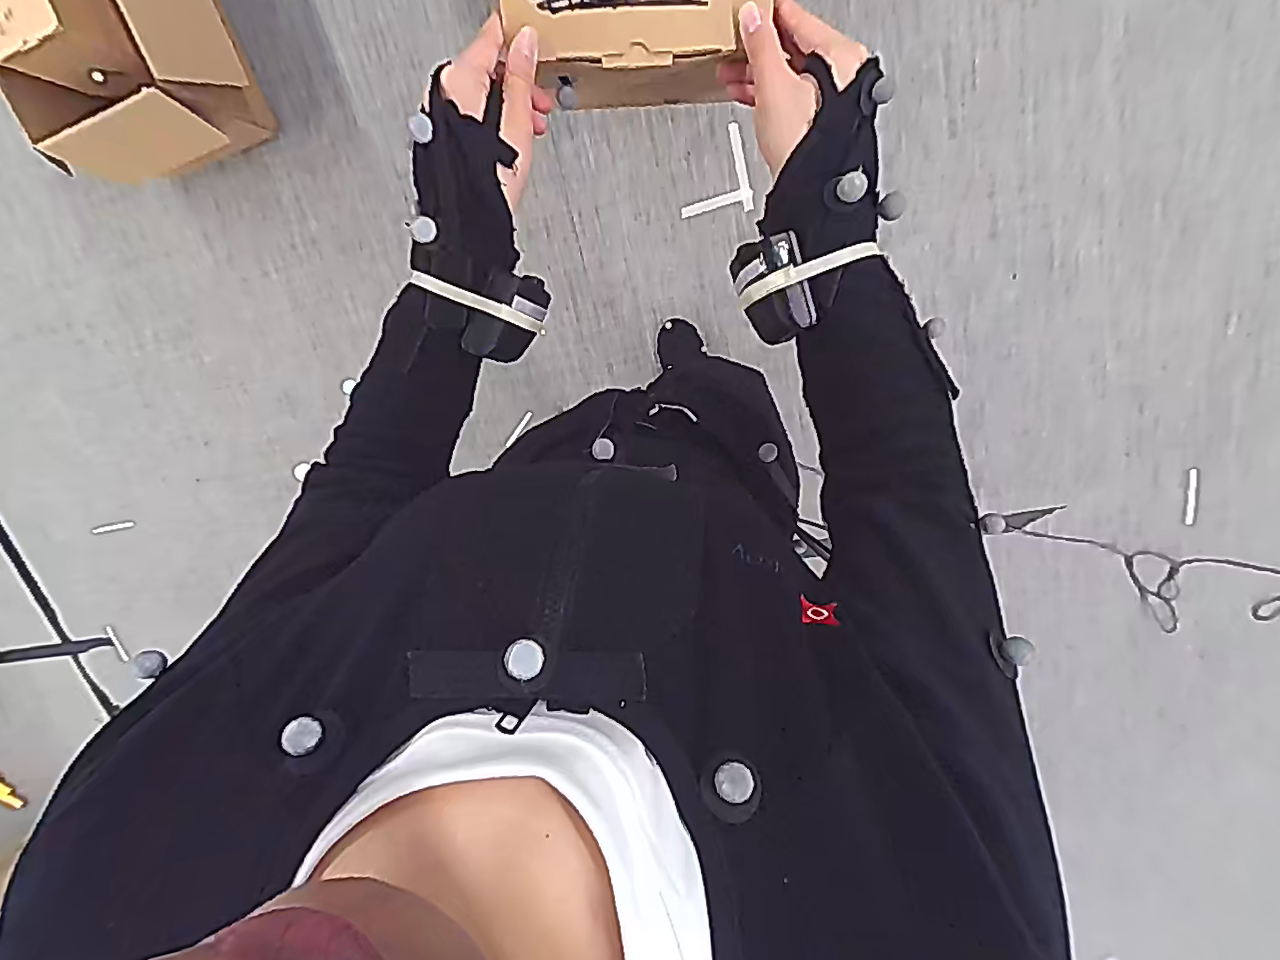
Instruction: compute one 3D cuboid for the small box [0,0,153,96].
[{"bbox_3d":[-1.068,-0.852,0.989,0.168,0.176,0.179,-13,106,12],"label":"small box"}]
